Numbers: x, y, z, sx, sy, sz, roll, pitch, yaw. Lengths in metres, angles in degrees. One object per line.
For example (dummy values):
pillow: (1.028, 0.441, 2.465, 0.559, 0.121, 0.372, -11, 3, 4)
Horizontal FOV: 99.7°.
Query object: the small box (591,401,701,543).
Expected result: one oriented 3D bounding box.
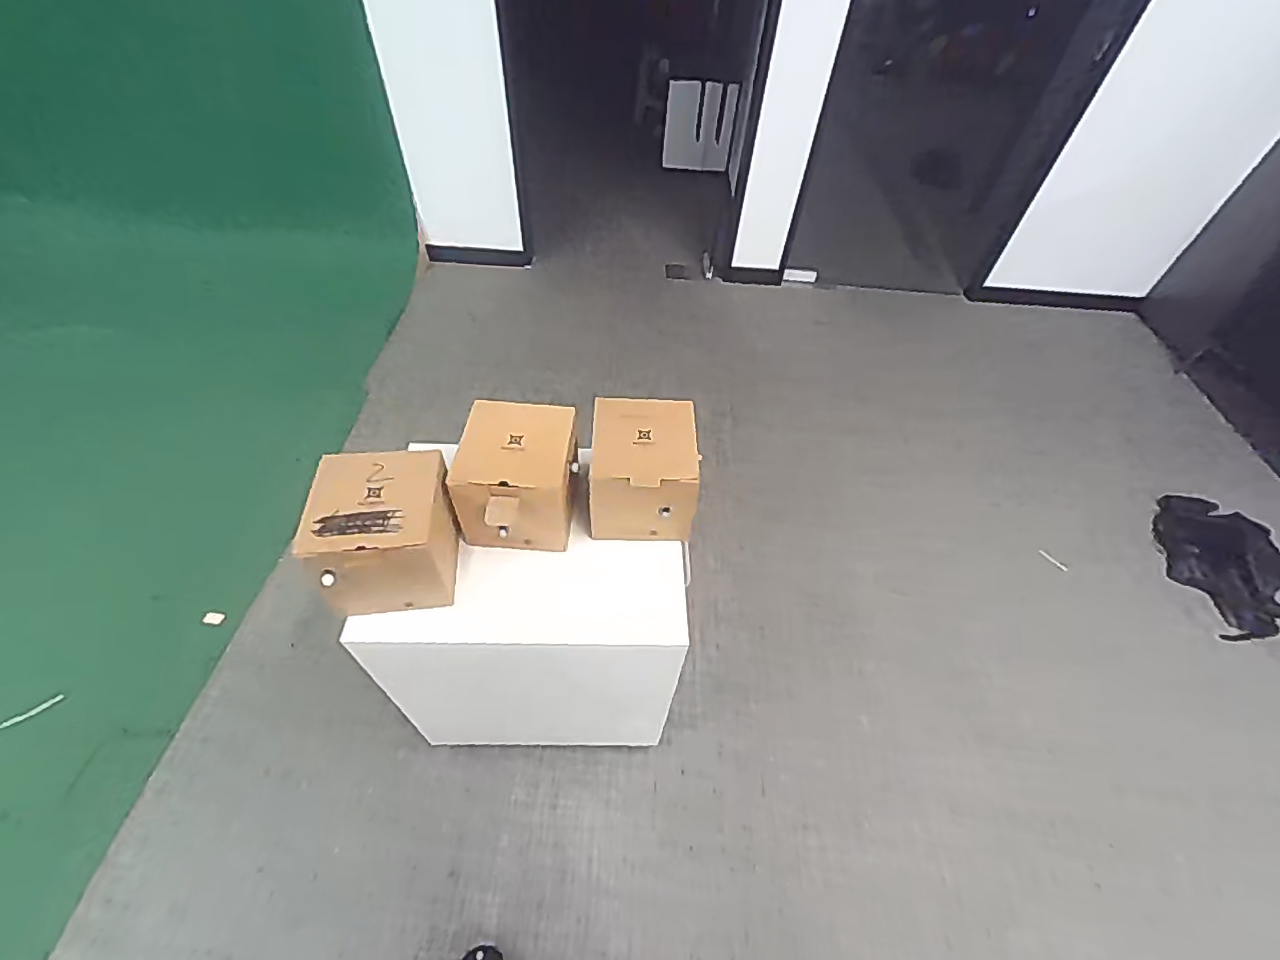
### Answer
small box: (0.006, -0.010, 0.903, 0.168, 0.176, 0.179, 2, 49, -3)
